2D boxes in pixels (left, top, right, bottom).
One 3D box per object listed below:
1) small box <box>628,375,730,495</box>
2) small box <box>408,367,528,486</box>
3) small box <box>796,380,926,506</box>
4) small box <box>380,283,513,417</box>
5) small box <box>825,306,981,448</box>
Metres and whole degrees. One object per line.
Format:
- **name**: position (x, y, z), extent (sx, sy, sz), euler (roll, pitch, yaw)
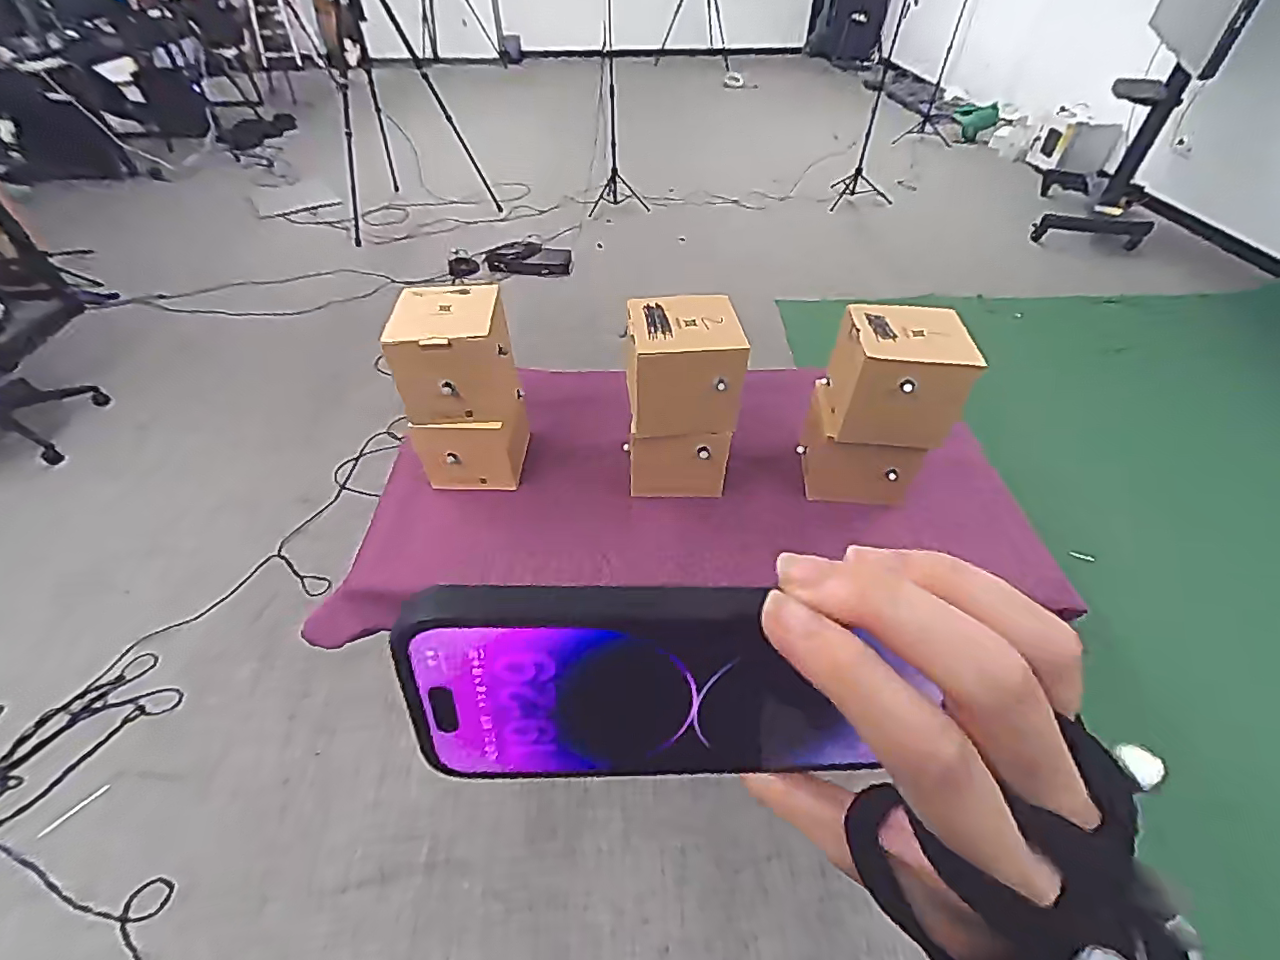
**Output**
- **small box**: position (0.068, -0.084, 1.038), extent (0.179, 0.176, 0.168), euler (1, 47, 1)
- **small box**: position (-0.322, -0.103, 1.056), extent (0.168, 0.176, 0.179), euler (1, 47, 1)
- **small box**: position (0.408, -0.068, 1.028), extent (0.179, 0.176, 0.168), euler (5, 46, 5)
- **small box**: position (-0.322, -0.222, 0.942), extent (0.168, 0.176, 0.179), euler (-2, 47, -3)
- **small box**: position (0.417, -0.169, 0.898), extent (0.179, 0.176, 0.168), euler (5, 47, 4)
